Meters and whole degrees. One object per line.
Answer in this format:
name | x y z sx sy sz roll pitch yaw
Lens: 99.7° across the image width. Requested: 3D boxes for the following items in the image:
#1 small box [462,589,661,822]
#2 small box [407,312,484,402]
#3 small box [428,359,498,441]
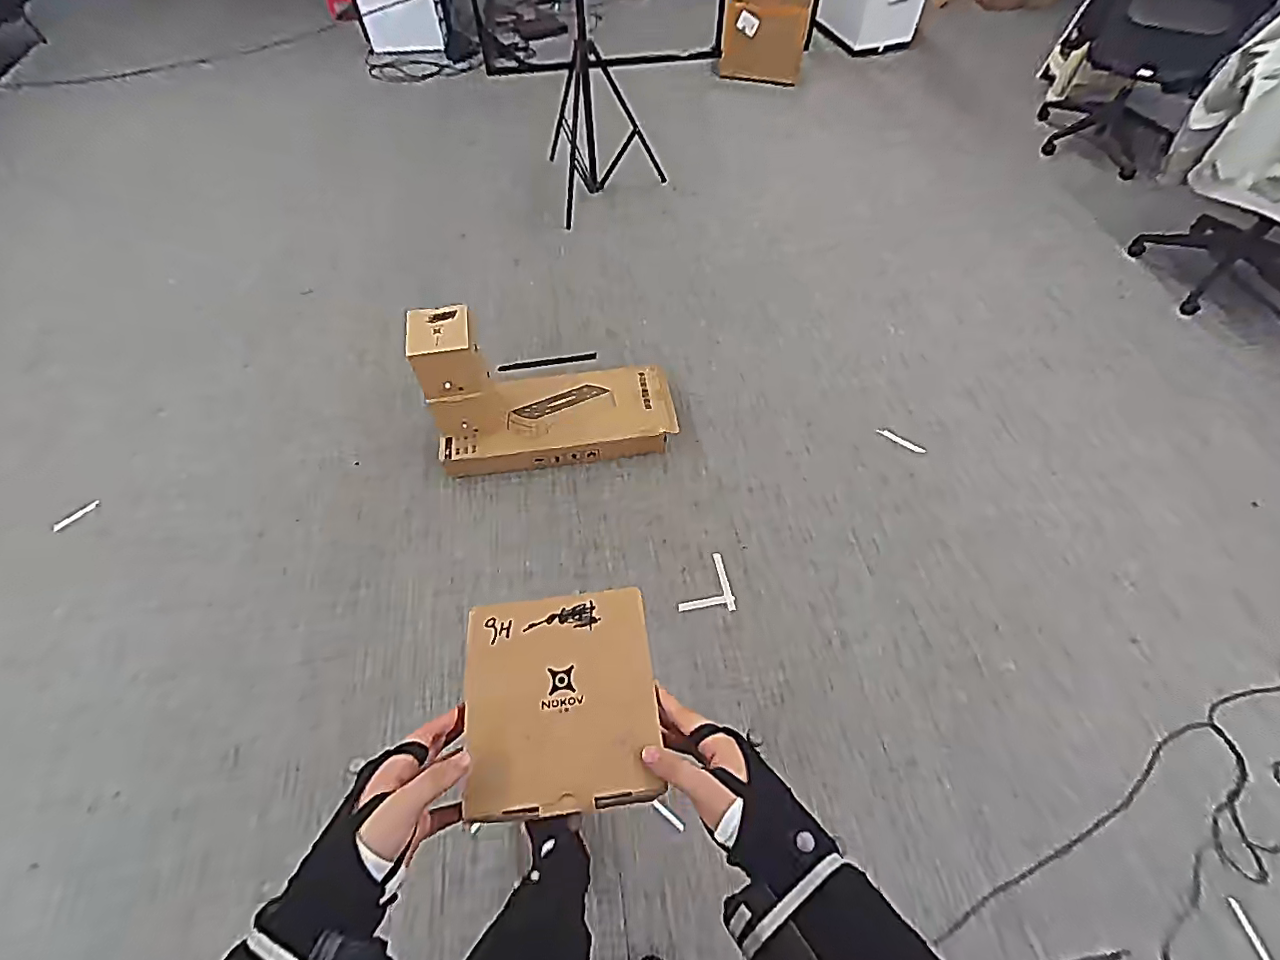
small box | -0.073 0.228 0.543 0.168 0.176 0.179 -6 59 -6
small box | -0.543 -0.346 1.530 0.168 0.176 0.179 -9 57 -6
small box | -0.538 -0.244 1.658 0.168 0.176 0.179 -8 57 -5
